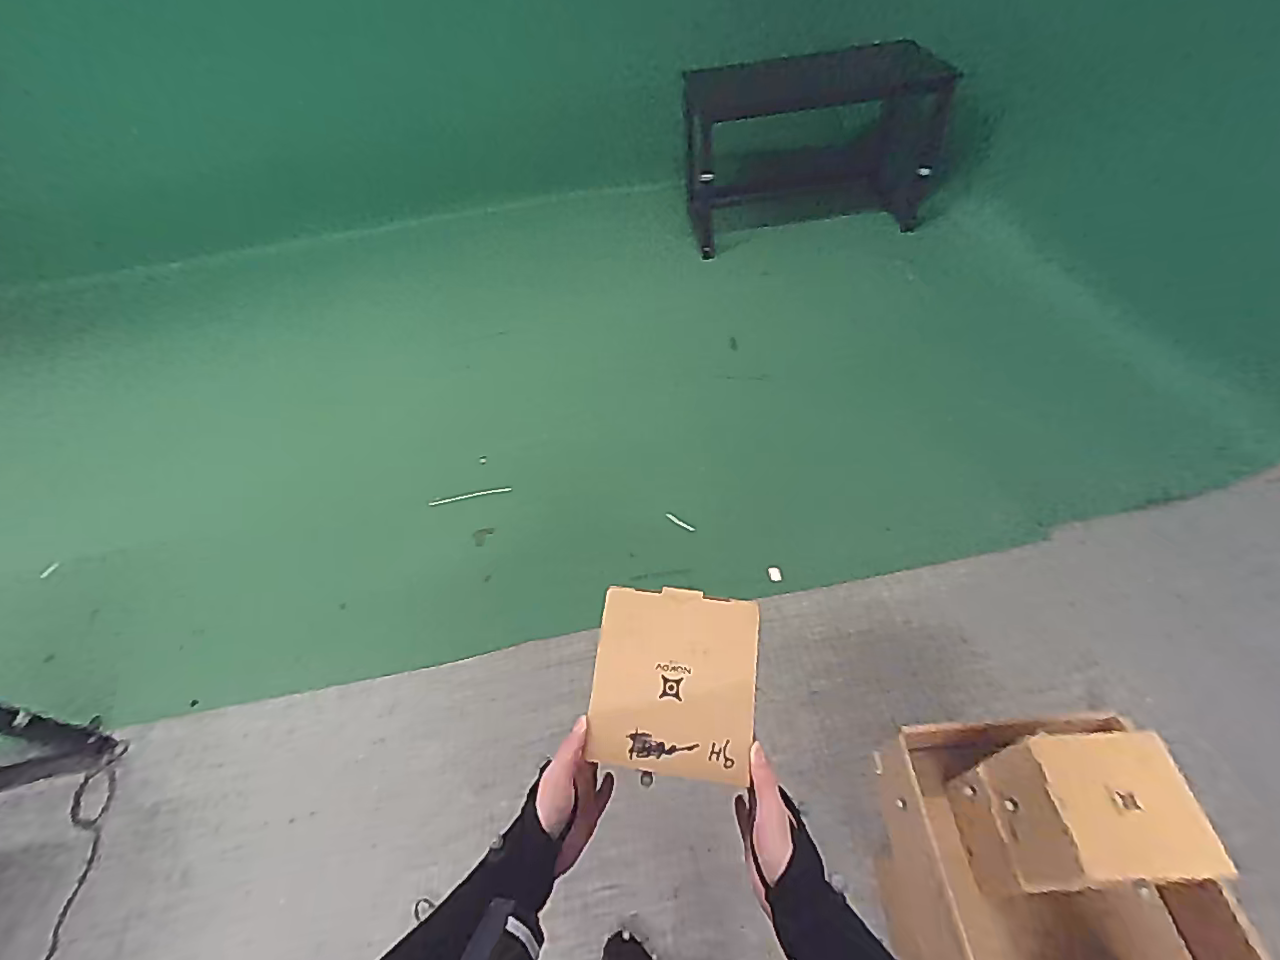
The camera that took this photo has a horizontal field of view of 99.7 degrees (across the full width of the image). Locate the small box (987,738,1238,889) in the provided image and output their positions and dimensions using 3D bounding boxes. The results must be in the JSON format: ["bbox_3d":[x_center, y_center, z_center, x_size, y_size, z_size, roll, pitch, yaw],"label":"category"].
[{"bbox_3d":[0.639,0.472,0.764,0.179,0.176,0.168,-4,51,4],"label":"small box"}]

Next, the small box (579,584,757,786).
[{"bbox_3d":[0.040,0.231,0.624,0.168,0.176,0.179,4,68,10],"label":"small box"}]
